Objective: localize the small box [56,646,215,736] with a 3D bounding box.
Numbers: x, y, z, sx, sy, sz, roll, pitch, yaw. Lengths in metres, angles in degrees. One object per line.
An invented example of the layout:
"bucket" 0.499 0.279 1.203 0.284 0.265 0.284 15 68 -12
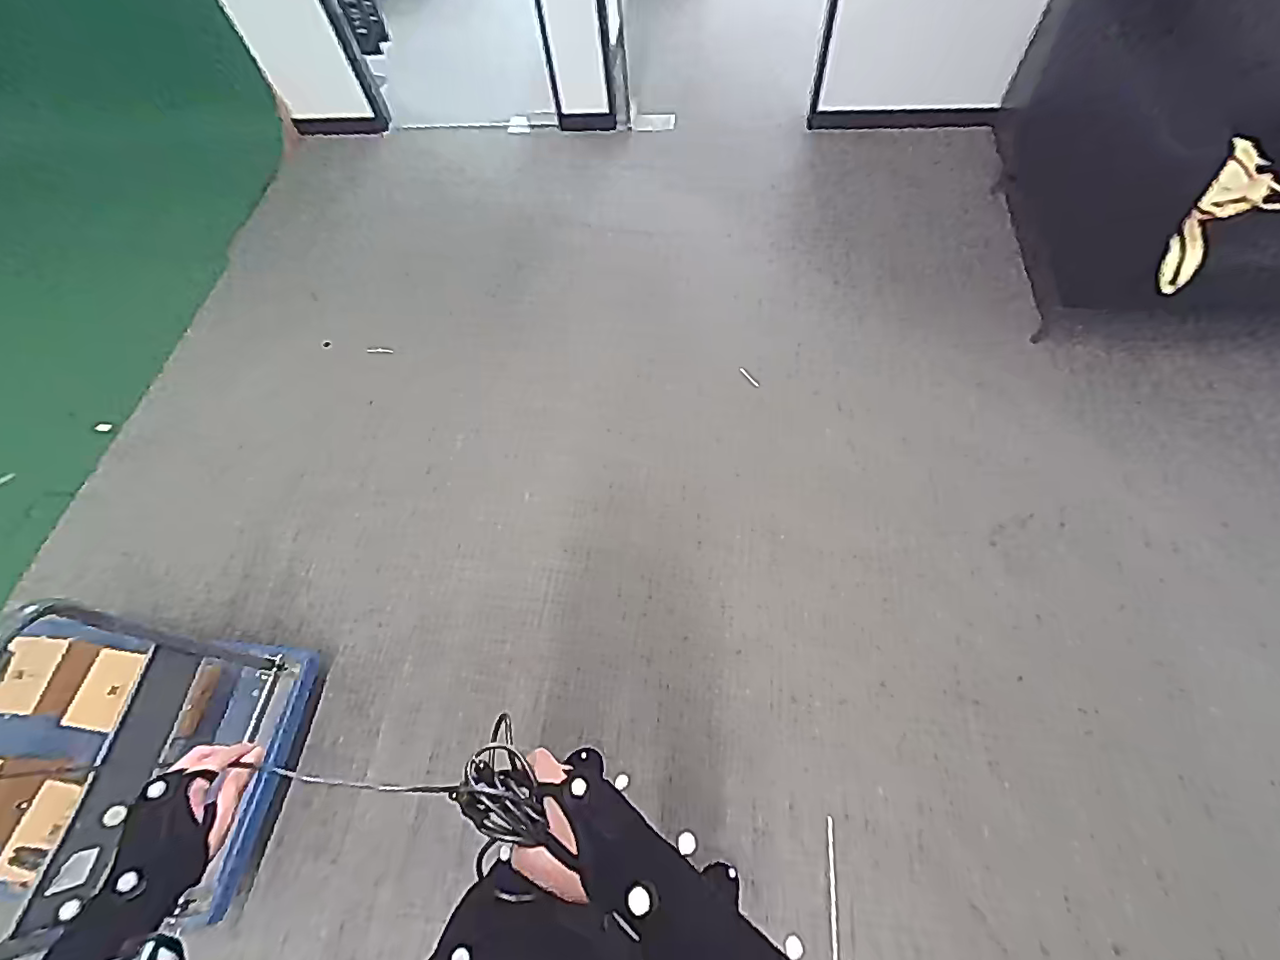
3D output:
"small box" -1.175 0.502 1.276 0.179 0.176 0.168 6 63 6

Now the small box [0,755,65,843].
"small box" -1.454 0.701 1.189 0.179 0.176 0.168 2 62 4

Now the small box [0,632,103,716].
"small box" -1.429 0.474 1.305 0.179 0.176 0.168 4 64 4
